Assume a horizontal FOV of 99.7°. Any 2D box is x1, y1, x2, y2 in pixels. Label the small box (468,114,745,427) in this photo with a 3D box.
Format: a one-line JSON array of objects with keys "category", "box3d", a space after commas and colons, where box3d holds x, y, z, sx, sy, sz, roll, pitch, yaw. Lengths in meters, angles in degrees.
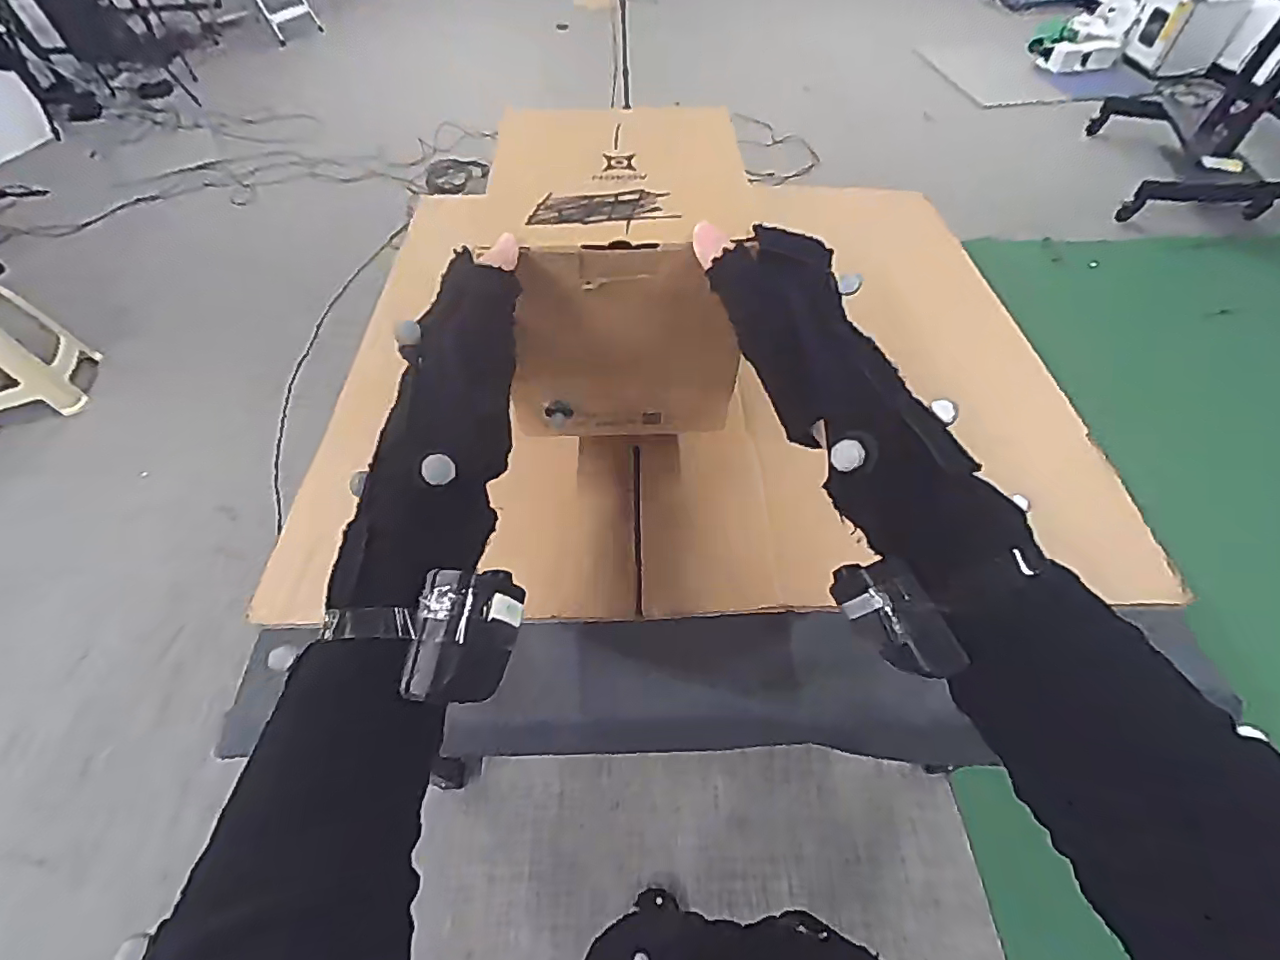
[{"category": "small box", "box3d": [-0.019, -0.154, 0.424, 0.168, 0.176, 0.179, -2, 54, -1]}]
